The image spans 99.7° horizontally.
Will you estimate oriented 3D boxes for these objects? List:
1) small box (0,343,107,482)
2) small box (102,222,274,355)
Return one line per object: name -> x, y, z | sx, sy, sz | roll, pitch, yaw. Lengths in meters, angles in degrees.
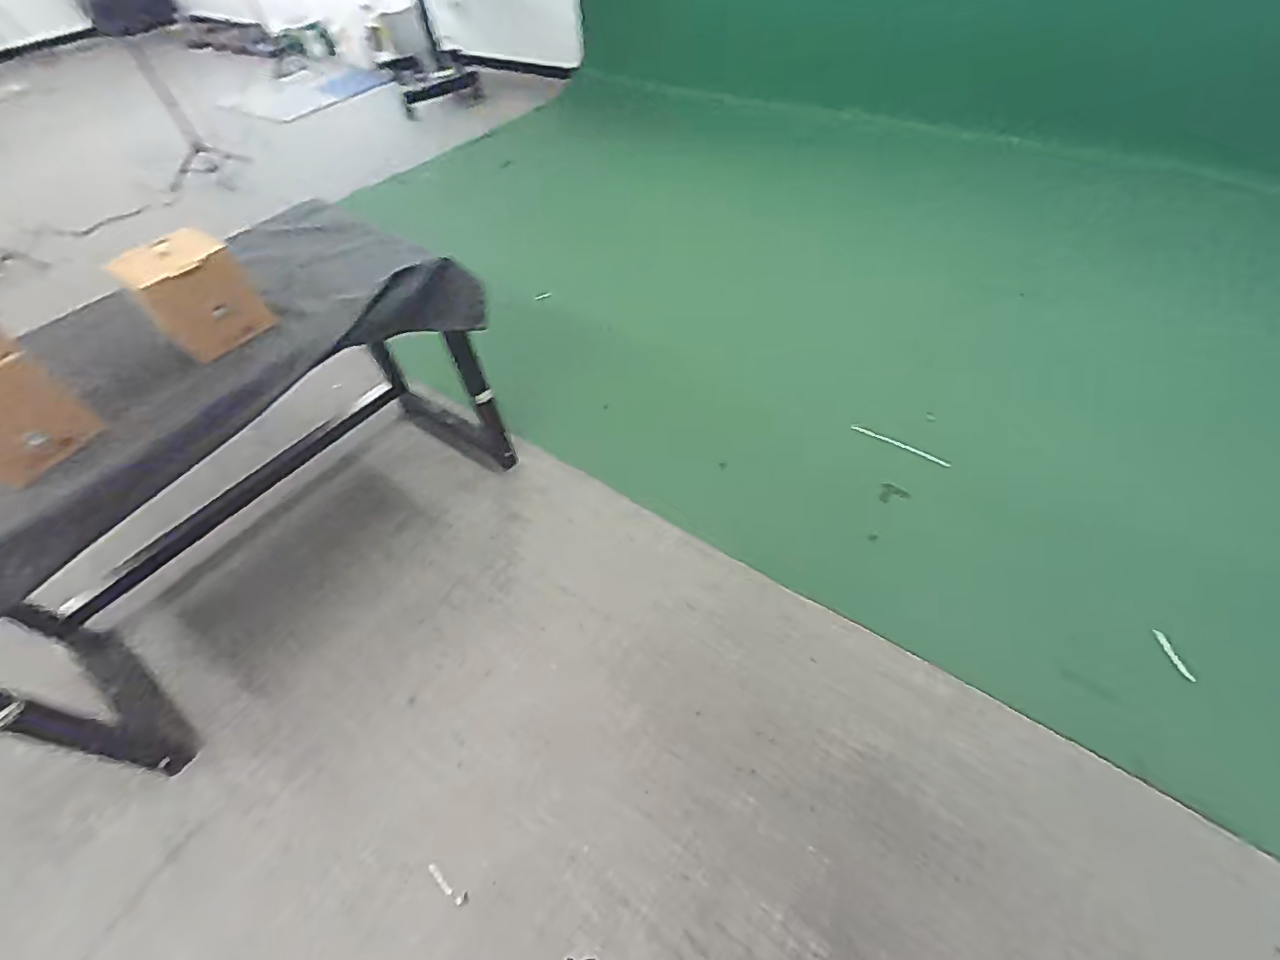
small box -> -1.058, -0.122, 0.884 | 0.179, 0.176, 0.168 | 19, 56, 19
small box -> -0.877, -0.373, 1.067 | 0.179, 0.176, 0.168 | 29, 60, 24
